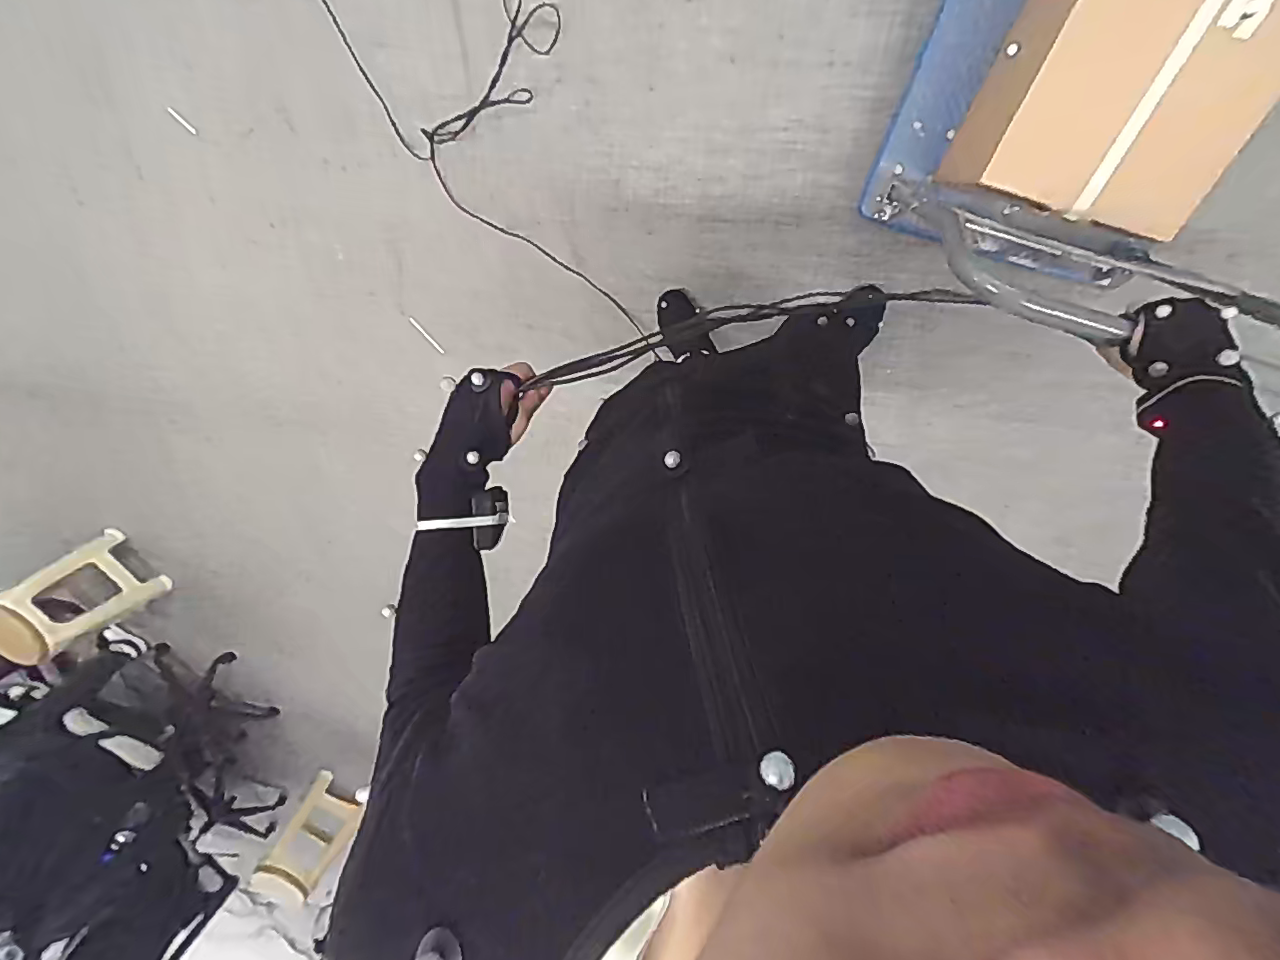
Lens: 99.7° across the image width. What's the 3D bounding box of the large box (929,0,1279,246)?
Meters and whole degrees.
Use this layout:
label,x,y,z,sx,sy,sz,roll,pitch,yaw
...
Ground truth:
label,x,y,z,sx,sy,sz,roll,pitch,yaw
large box,0.766,-0.655,0.911,0.320,0.320,0.408,21,120,2
